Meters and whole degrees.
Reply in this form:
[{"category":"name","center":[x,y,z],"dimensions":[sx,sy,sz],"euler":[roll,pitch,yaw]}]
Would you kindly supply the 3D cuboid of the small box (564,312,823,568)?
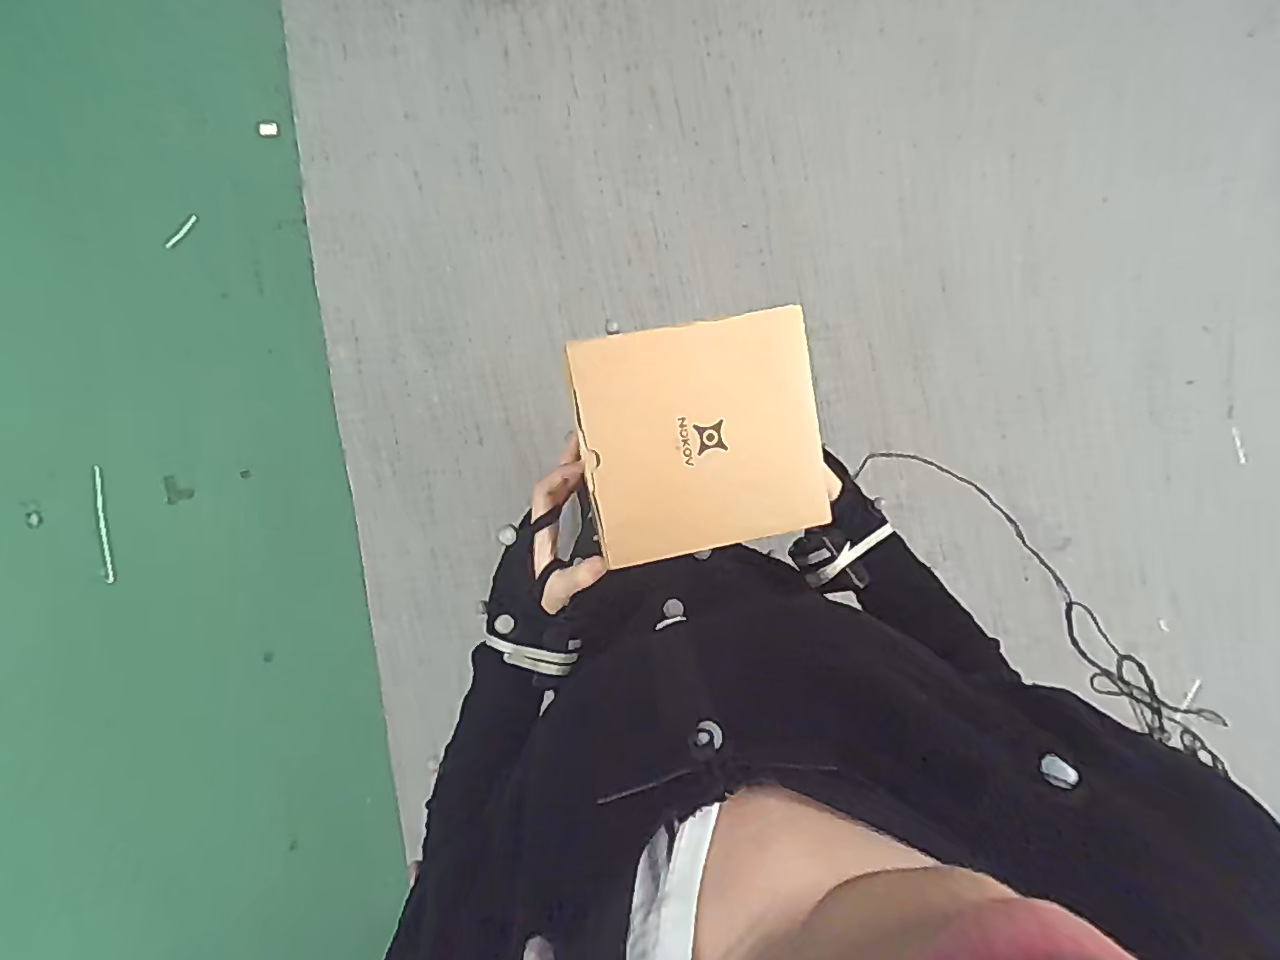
[{"category":"small box","center":[0.034,-0.039,0.476],"dimensions":[0.179,0.176,0.168],"euler":[-12,97,-5]}]
